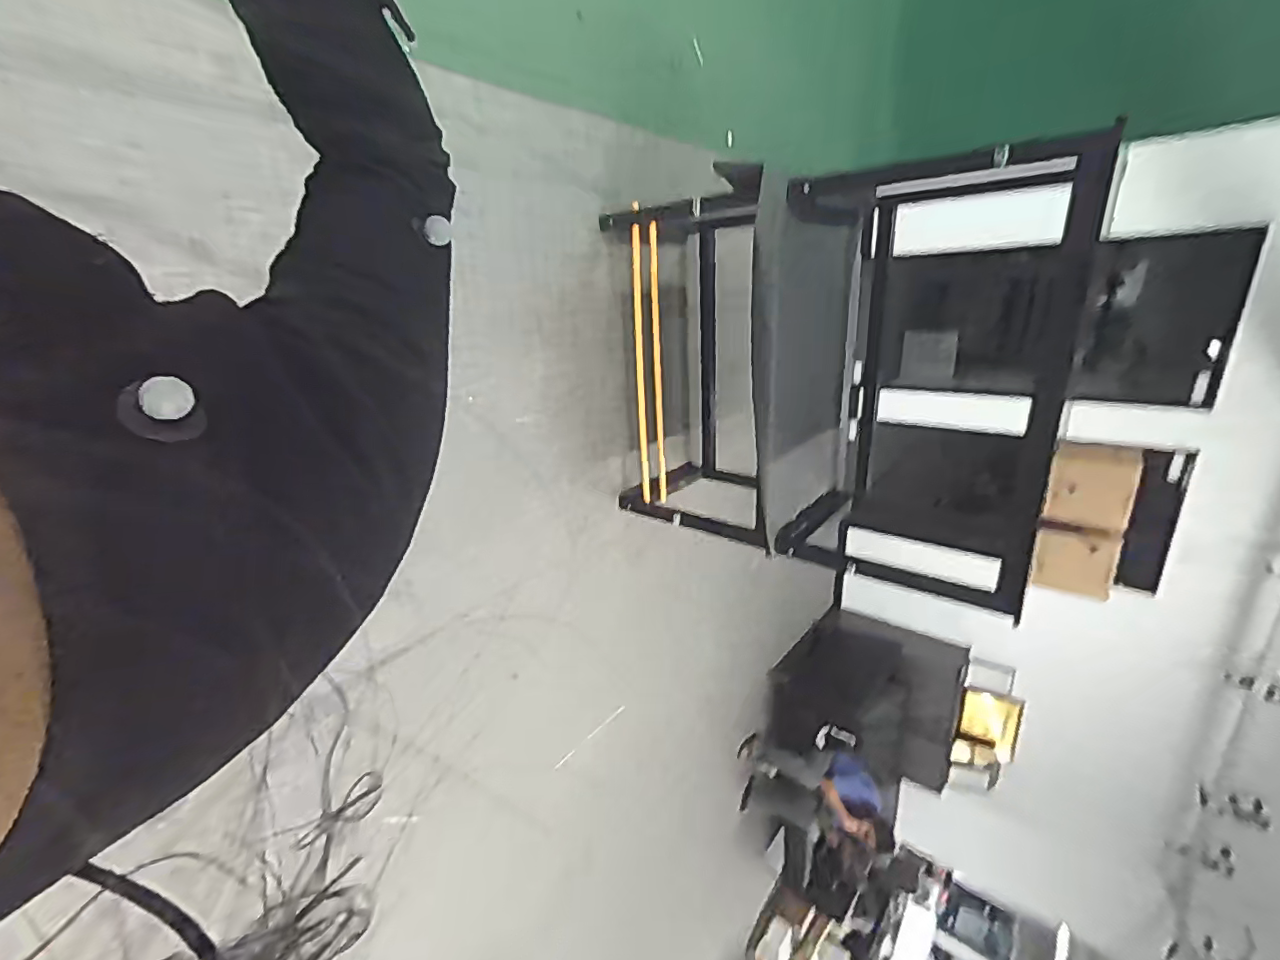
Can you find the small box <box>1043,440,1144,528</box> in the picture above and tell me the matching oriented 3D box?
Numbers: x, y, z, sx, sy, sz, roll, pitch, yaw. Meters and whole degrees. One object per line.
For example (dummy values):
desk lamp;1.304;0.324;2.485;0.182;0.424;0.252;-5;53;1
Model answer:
small box;1.160;0.002;1.390;0.179;0.176;0.168;-25;119;-45
